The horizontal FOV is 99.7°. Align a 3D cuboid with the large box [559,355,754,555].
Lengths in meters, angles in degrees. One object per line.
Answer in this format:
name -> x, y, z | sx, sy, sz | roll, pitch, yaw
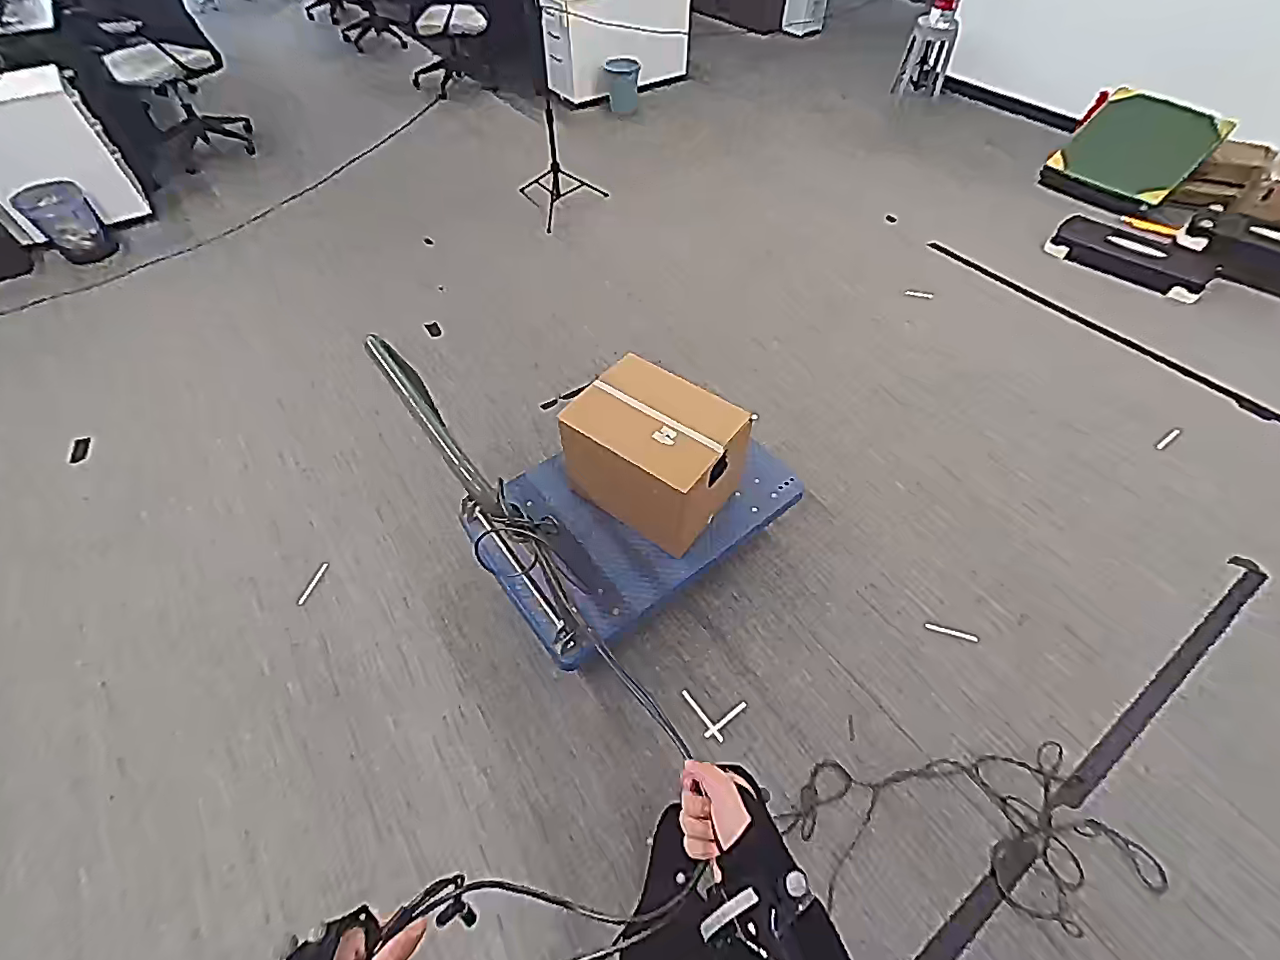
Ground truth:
large box -> 0.038, -0.071, 1.481 | 0.408, 0.320, 0.320 | 32, 60, 21
